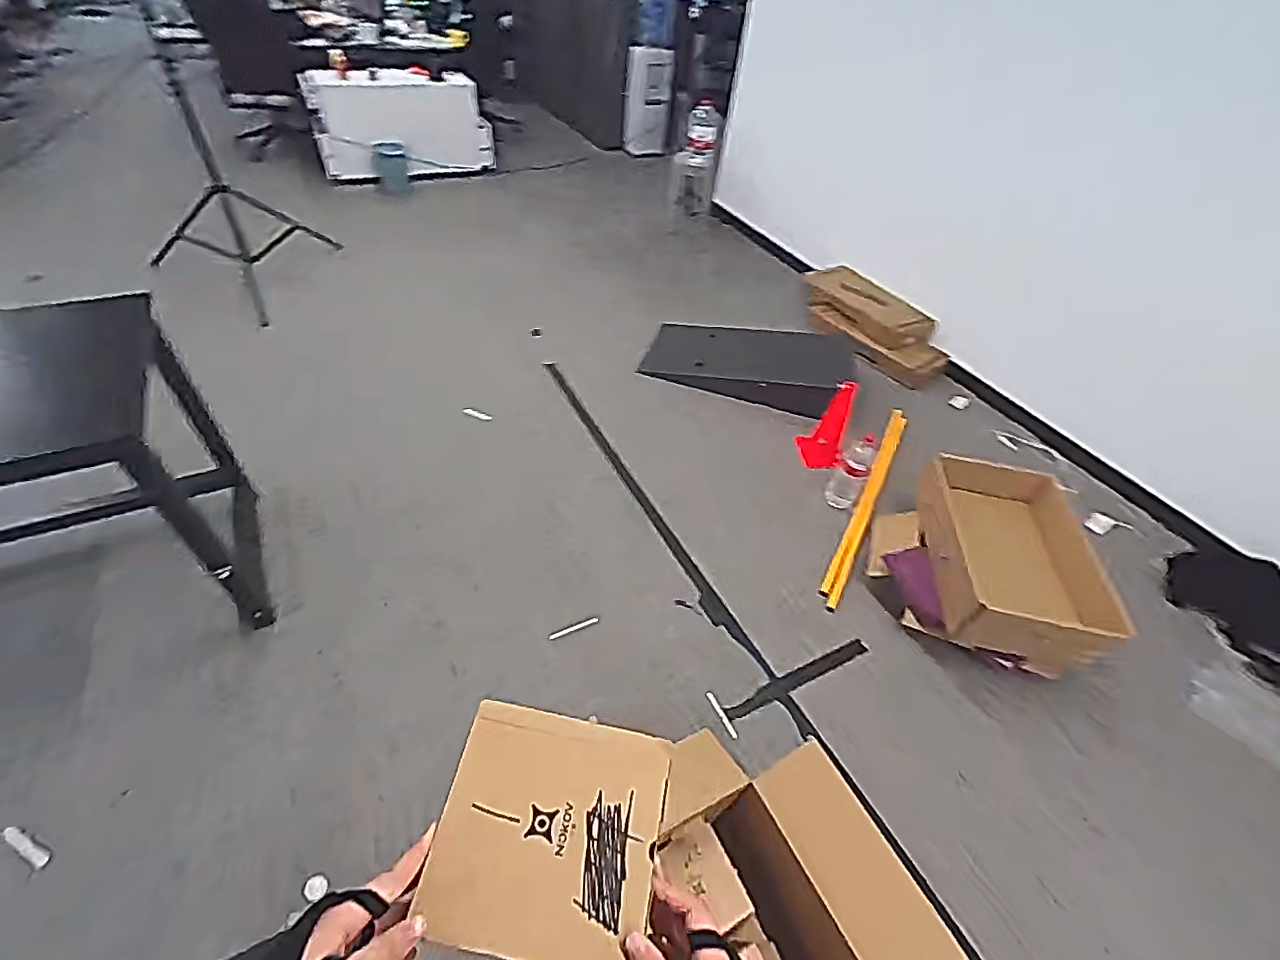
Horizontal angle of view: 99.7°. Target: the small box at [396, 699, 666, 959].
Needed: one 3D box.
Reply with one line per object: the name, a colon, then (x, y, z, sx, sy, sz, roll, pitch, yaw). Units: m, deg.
small box: (-0.084, 0.320, 0.495, 0.179, 0.176, 0.168, 12, 55, 1)
